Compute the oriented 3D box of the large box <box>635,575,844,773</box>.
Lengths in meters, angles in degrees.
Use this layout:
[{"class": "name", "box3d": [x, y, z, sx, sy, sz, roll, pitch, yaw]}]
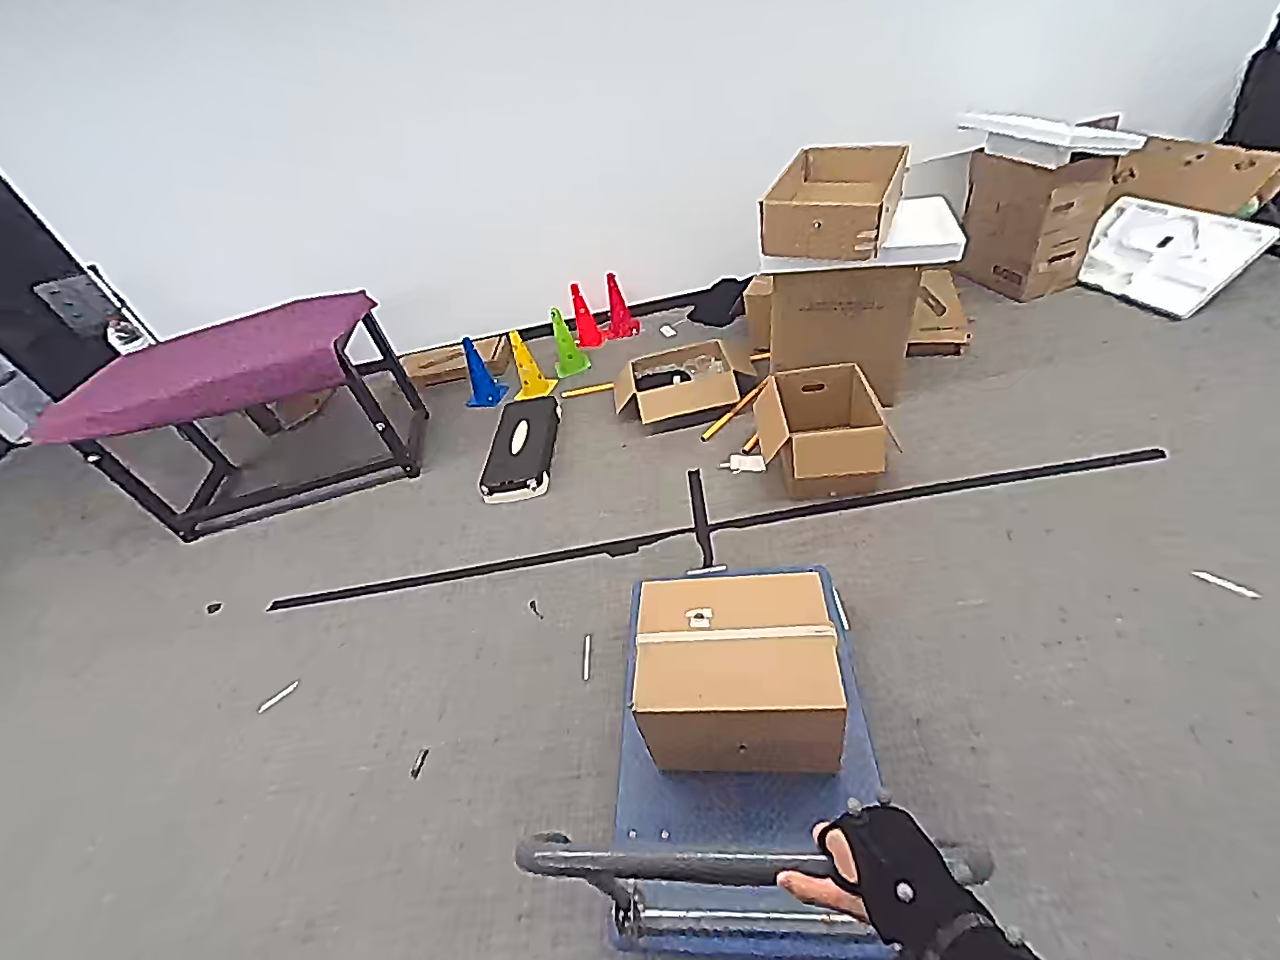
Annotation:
[{"class": "large box", "box3d": [0.222, 0.451, 1.240, 0.408, 0.320, 0.320, -7, 40, 10]}]
